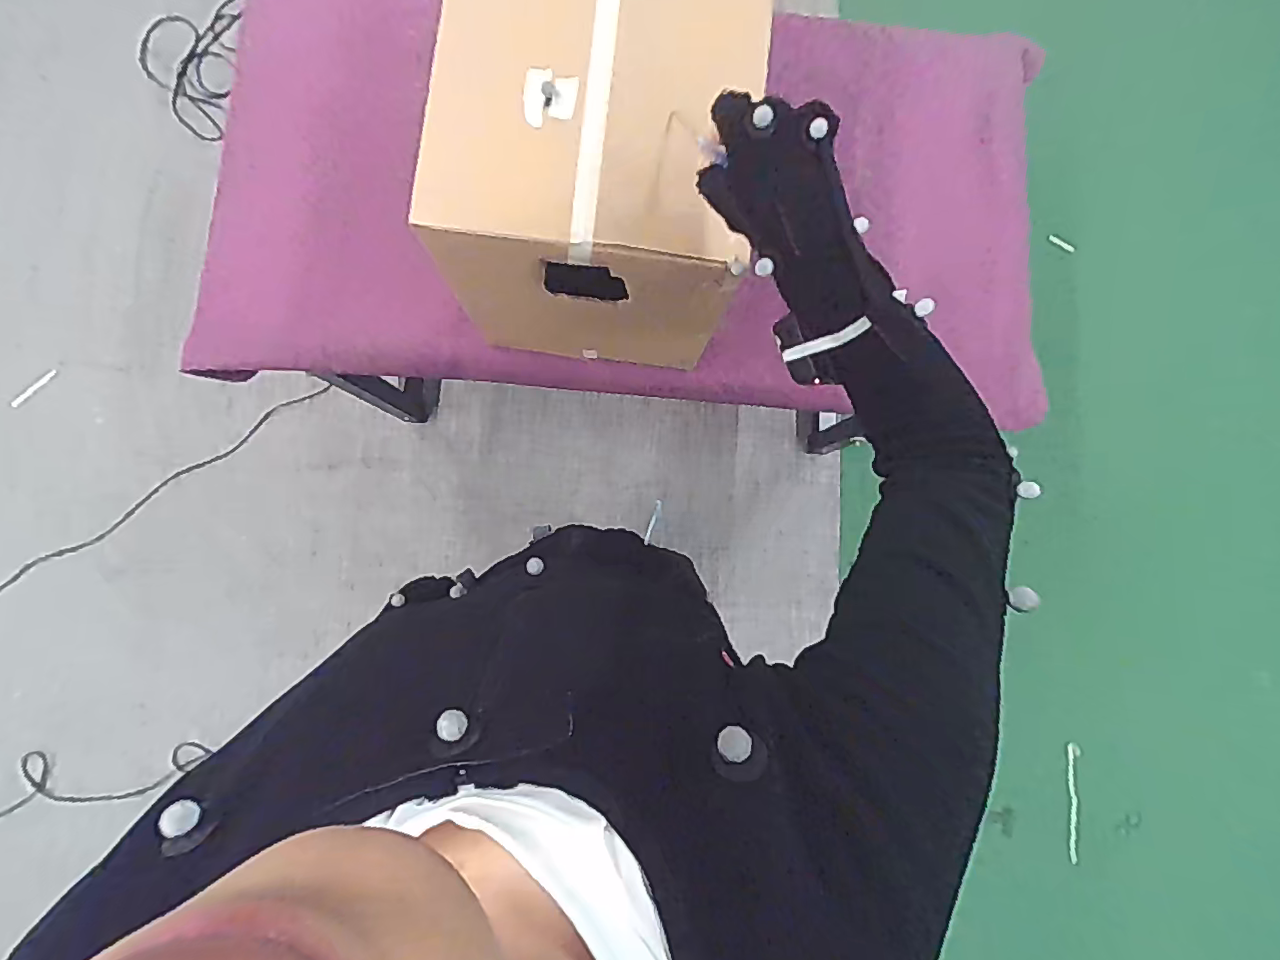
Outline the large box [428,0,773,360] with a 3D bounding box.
[{"bbox_3d":[-0.039,-0.404,0.674,0.320,0.320,0.408,7,85,-3],"label":"large box"}]
